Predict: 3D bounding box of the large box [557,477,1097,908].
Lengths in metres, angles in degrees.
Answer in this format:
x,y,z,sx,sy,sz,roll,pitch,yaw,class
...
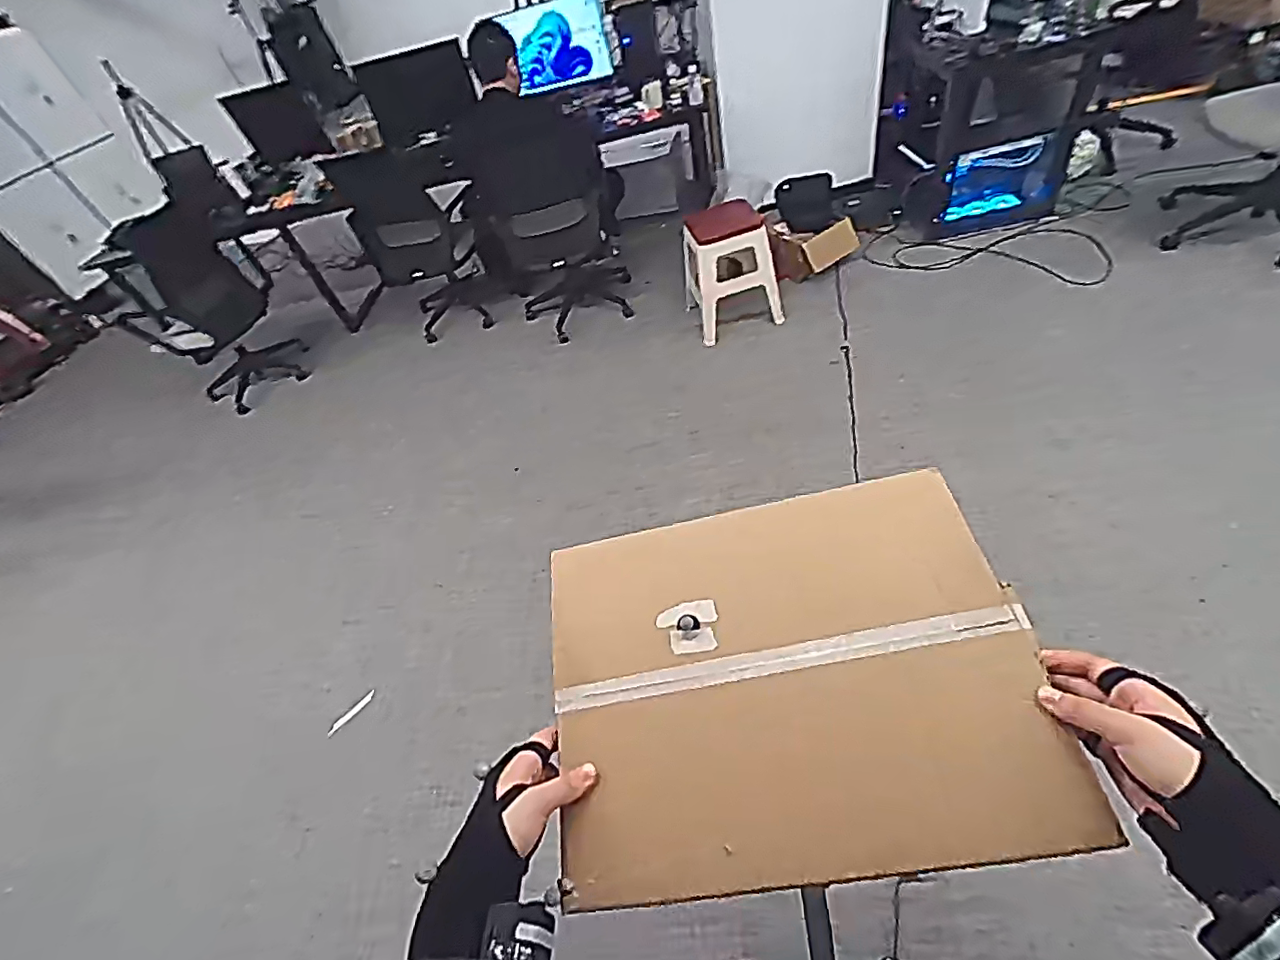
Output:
x,y,z,sx,sy,sz,roll,pitch,yaw,class
0.155,0.245,0.609,0.408,0.320,0.320,-14,55,9,large box
